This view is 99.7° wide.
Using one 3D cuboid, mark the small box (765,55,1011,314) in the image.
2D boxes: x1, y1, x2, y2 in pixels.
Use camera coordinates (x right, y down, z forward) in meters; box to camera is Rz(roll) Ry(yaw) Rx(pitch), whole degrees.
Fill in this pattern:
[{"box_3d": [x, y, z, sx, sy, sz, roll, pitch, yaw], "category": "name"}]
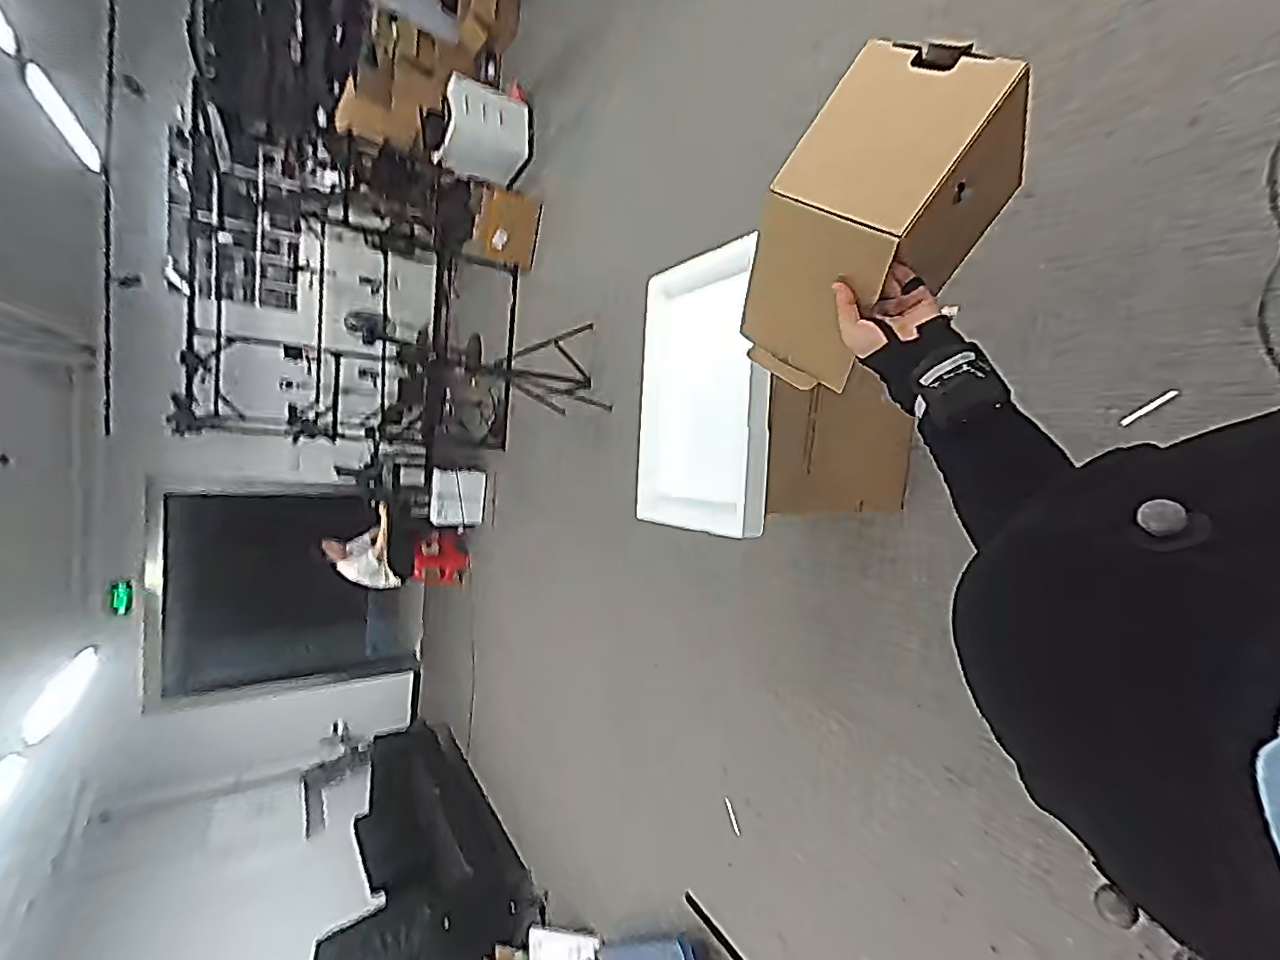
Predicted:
[{"box_3d": [0.278, -0.316, 0.601, 0.168, 0.176, 0.179, 41, 101, 34], "category": "small box"}]
